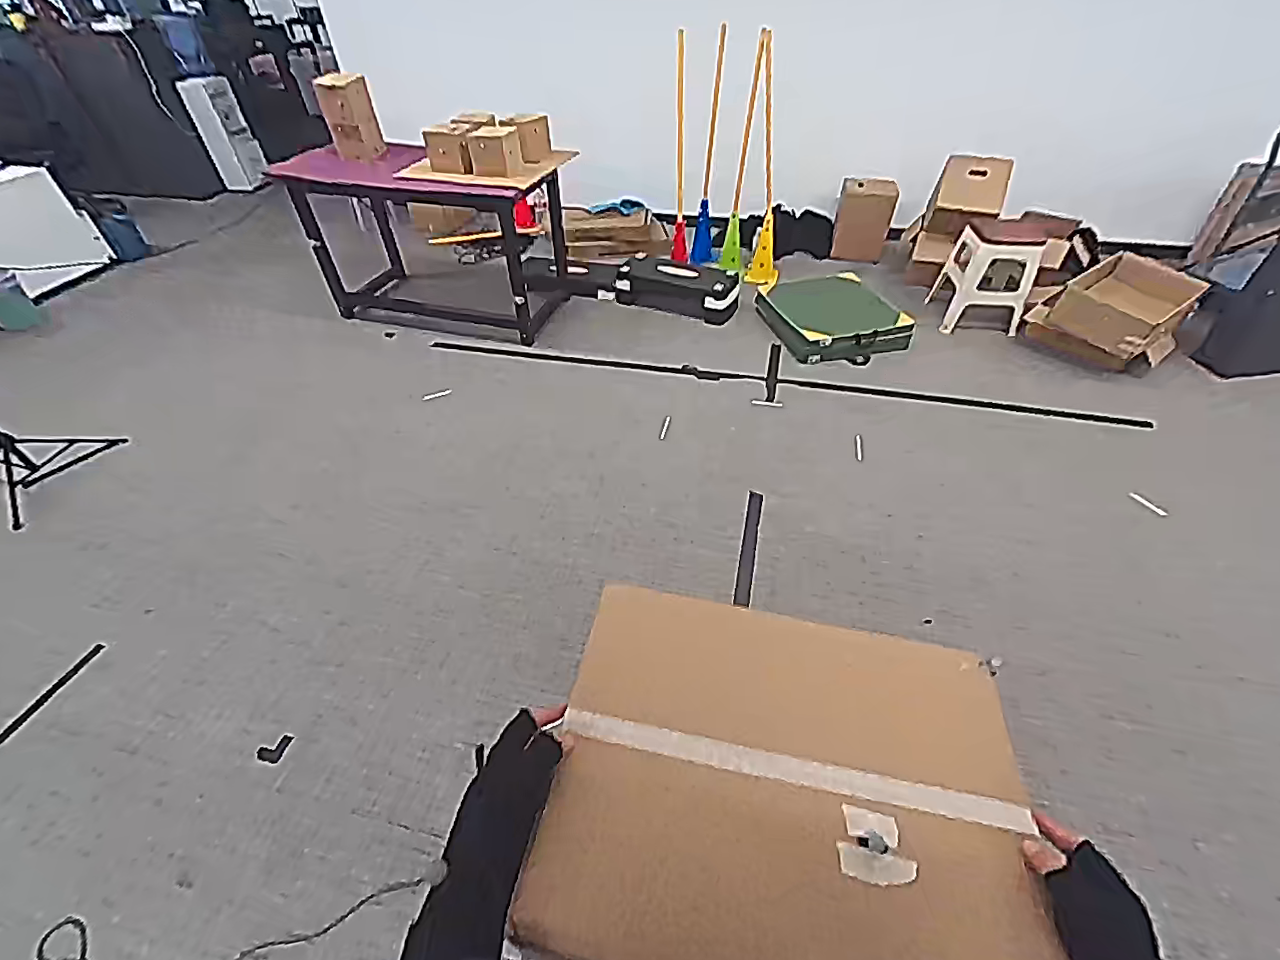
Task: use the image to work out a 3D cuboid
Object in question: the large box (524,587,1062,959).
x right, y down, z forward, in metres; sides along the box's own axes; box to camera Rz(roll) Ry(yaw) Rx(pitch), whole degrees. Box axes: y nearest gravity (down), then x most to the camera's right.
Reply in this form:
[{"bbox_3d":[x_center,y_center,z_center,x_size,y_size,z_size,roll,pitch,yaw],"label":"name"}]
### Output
[{"bbox_3d":[0.126,0.361,0.586,0.408,0.320,0.320,10,46,7],"label":"large box"}]
